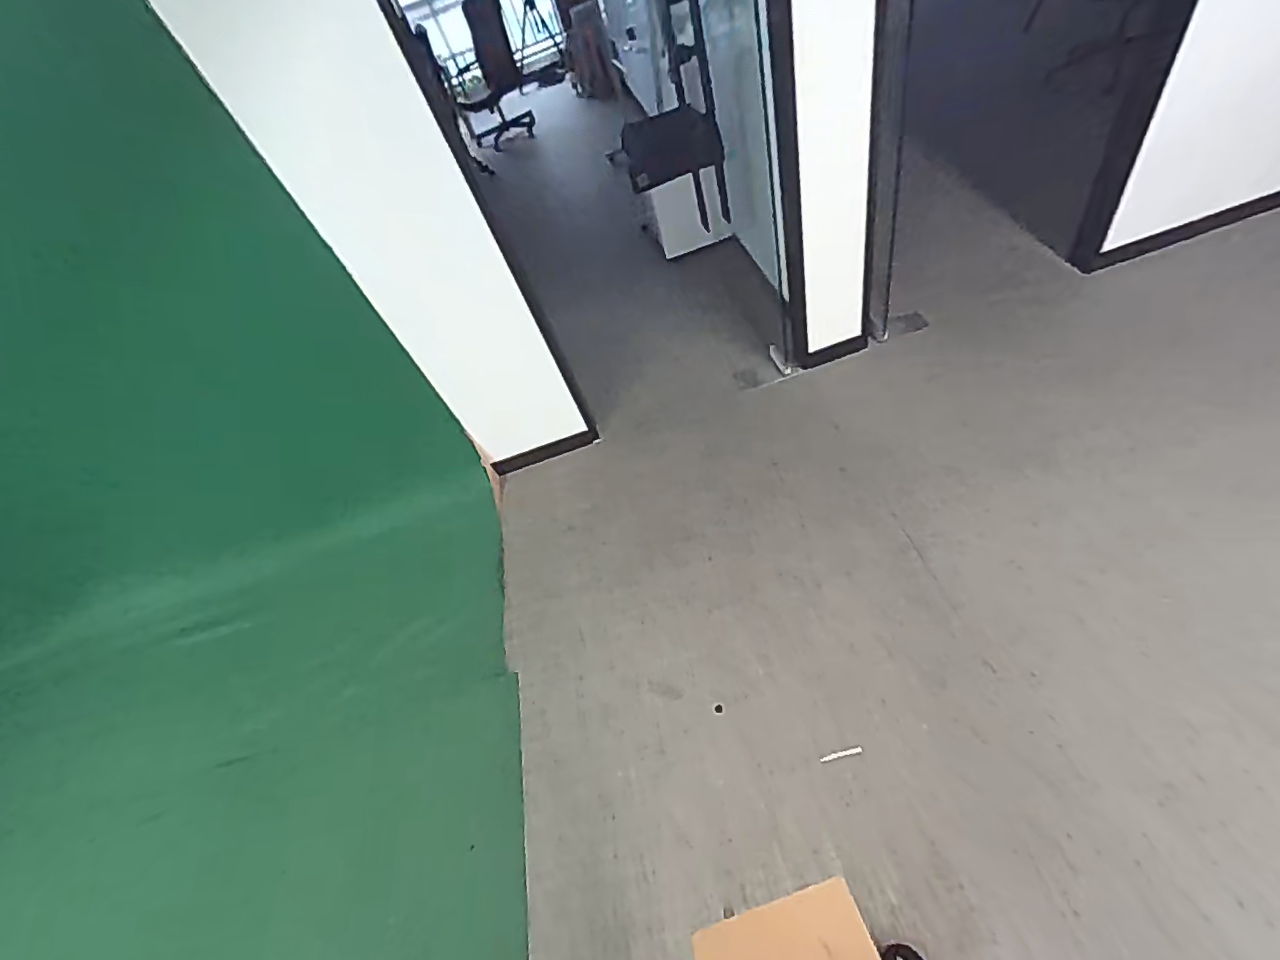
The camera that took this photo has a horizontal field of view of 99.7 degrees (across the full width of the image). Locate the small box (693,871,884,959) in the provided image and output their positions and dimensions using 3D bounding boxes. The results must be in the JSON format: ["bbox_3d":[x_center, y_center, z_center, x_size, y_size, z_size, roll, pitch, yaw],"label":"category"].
[{"bbox_3d":[0.173,0.552,0.573,0.179,0.176,0.168,-19,46,-3],"label":"small box"}]
